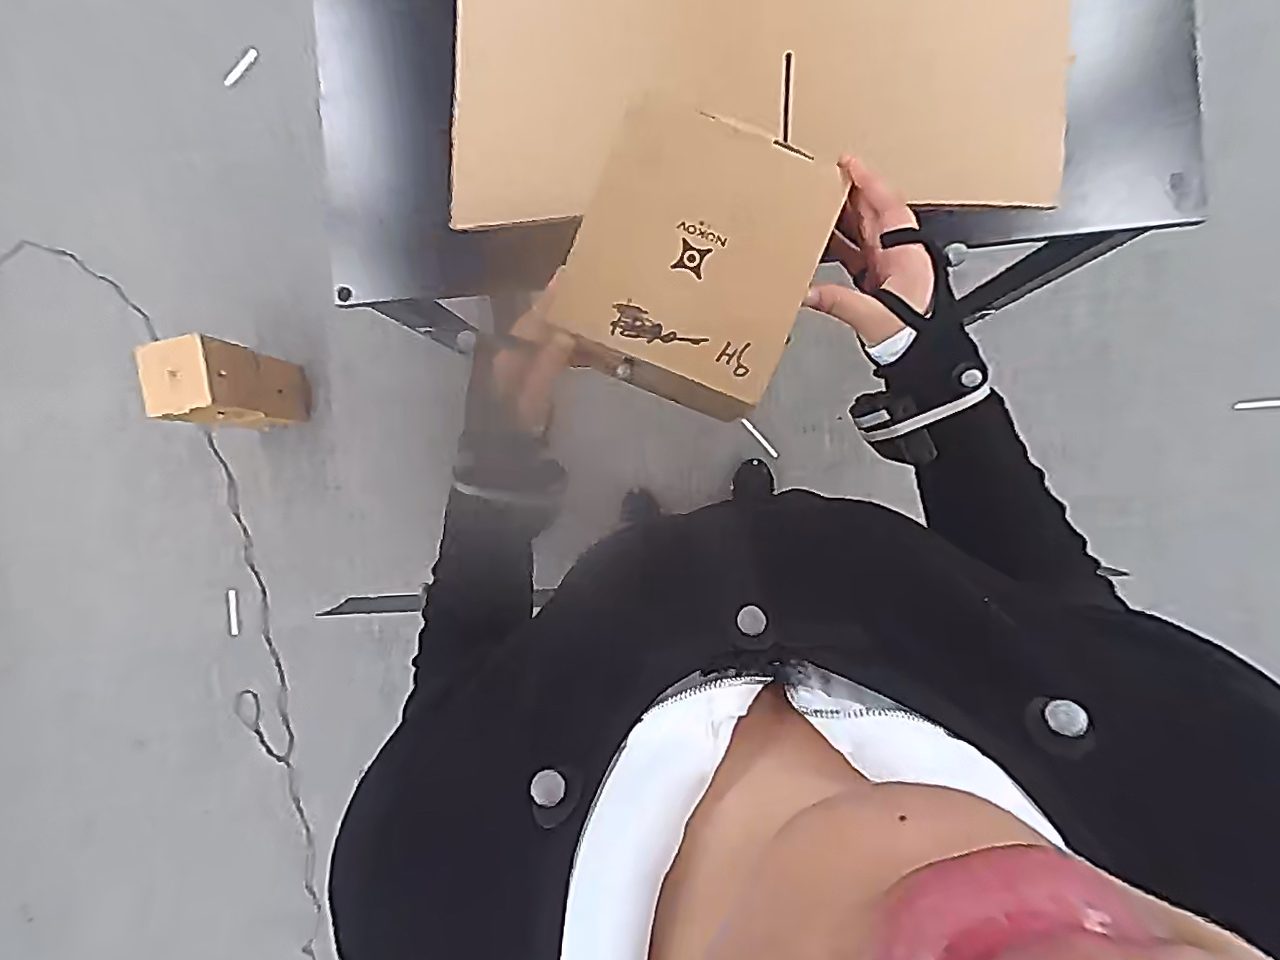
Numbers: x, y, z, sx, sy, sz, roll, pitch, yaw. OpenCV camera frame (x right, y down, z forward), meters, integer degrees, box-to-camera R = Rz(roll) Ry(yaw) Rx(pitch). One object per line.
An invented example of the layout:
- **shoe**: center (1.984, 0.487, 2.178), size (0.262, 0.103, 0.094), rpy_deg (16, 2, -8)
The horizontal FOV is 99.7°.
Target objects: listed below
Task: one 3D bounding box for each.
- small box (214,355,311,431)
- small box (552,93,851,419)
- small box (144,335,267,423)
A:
- **small box**: center (-1.063, -0.239, 1.518), size (0.168, 0.176, 0.179), rpy_deg (-8, 90, 5)
- **small box**: center (0.045, -0.167, 0.463), size (0.168, 0.176, 0.179), rpy_deg (23, 92, 3)
- **small box**: center (-1.079, -0.244, 1.357), size (0.168, 0.176, 0.179), rpy_deg (-11, 88, 4)
